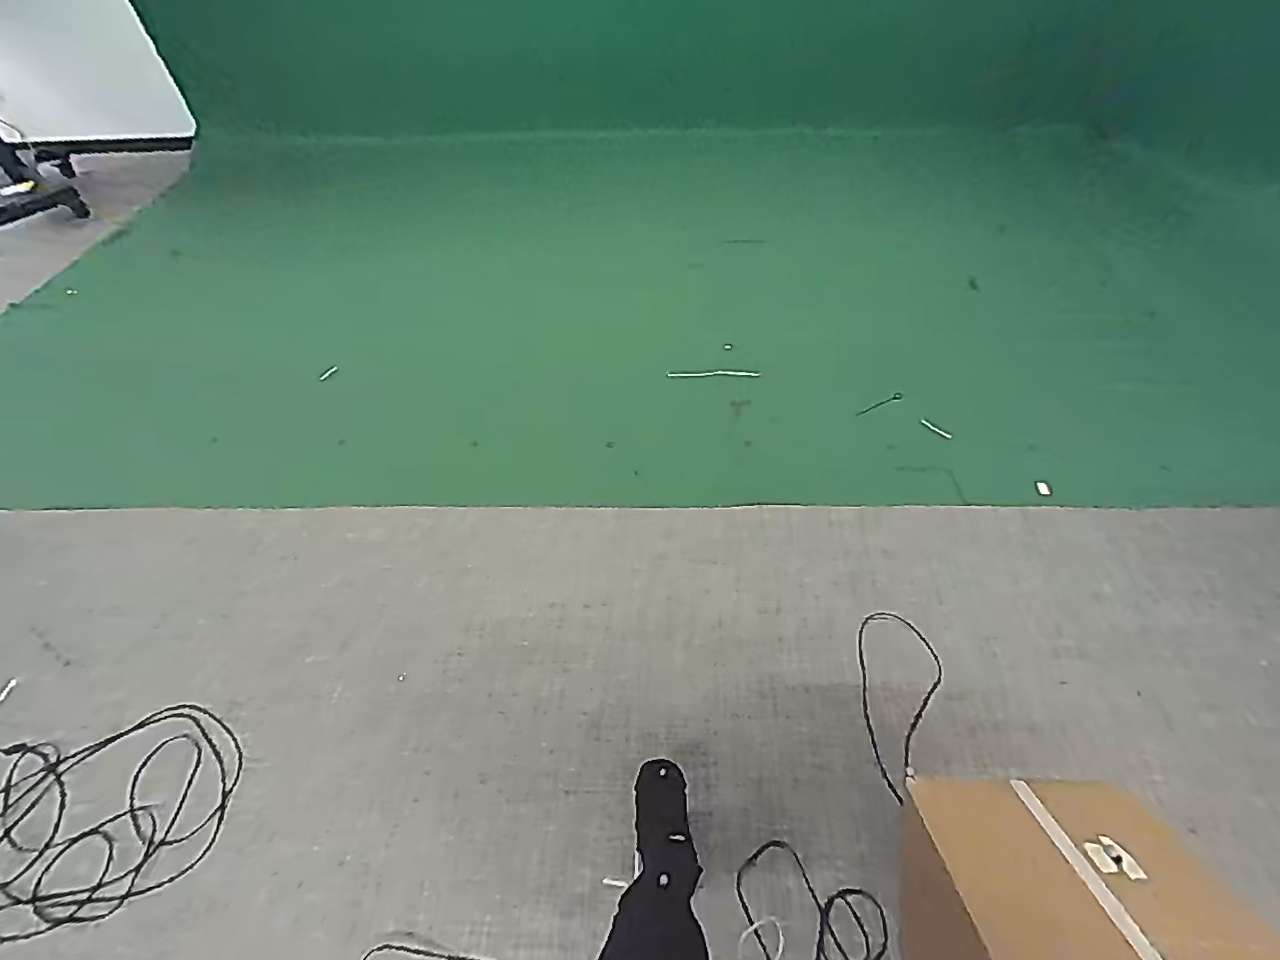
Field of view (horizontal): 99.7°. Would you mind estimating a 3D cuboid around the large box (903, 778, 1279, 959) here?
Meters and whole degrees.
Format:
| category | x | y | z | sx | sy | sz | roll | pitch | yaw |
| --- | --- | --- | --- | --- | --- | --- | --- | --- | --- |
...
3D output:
| category | x | y | z | sx | sy | sz | roll | pitch | yaw |
| --- | --- | --- | --- | --- | --- | --- | --- | --- | --- |
| large box | 0.551 | 0.644 | 0.655 | 0.320 | 0.320 | 0.408 | -1 | 11 | 7 |
